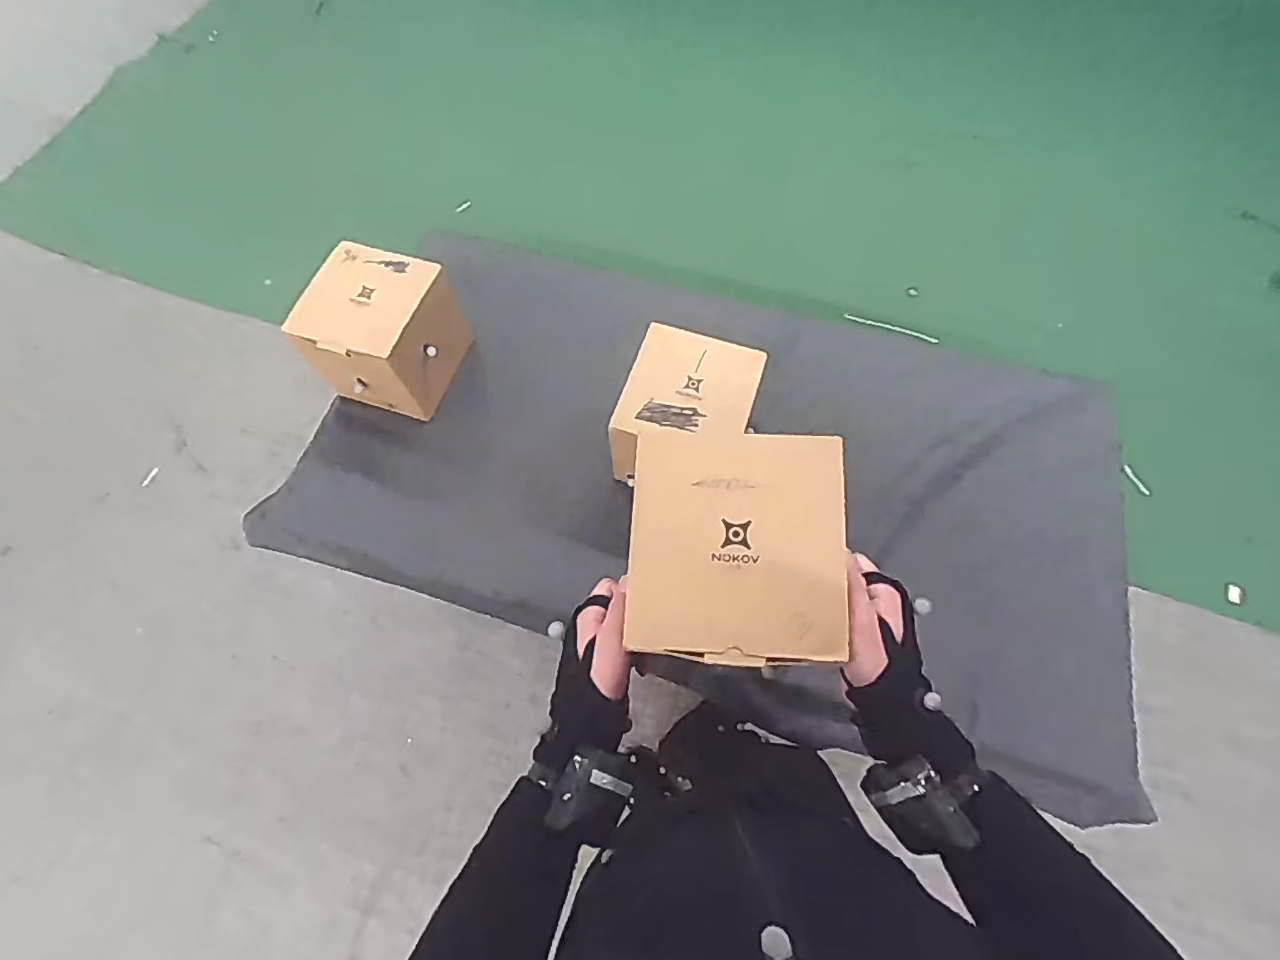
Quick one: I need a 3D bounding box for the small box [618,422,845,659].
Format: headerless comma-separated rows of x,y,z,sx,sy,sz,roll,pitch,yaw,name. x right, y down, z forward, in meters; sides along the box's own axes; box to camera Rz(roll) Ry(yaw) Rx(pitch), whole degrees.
0.075,0.061,0.486,0.168,0.176,0.179,2,73,4,small box

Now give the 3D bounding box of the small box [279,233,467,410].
-0.386,-0.231,0.822,0.168,0.176,0.179,17,70,5,small box

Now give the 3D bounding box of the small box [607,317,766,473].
0.064,-0.092,0.764,0.168,0.176,0.179,18,68,7,small box
